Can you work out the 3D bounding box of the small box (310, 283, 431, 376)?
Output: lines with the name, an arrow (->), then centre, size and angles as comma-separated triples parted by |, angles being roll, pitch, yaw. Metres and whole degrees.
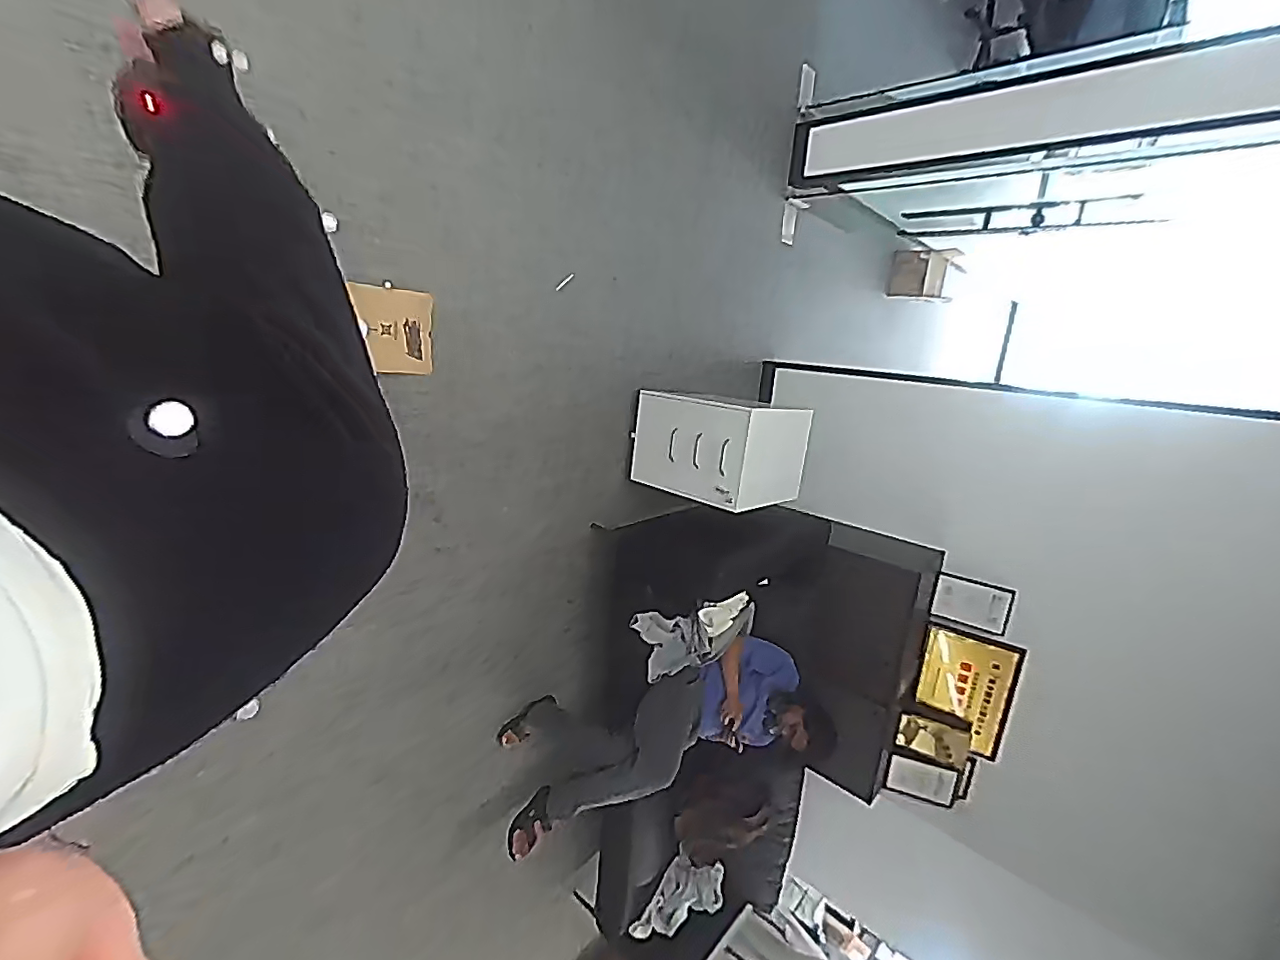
small box -> -0.558, -0.311, 1.122 | 0.179, 0.176, 0.168 | -9, 109, -47
